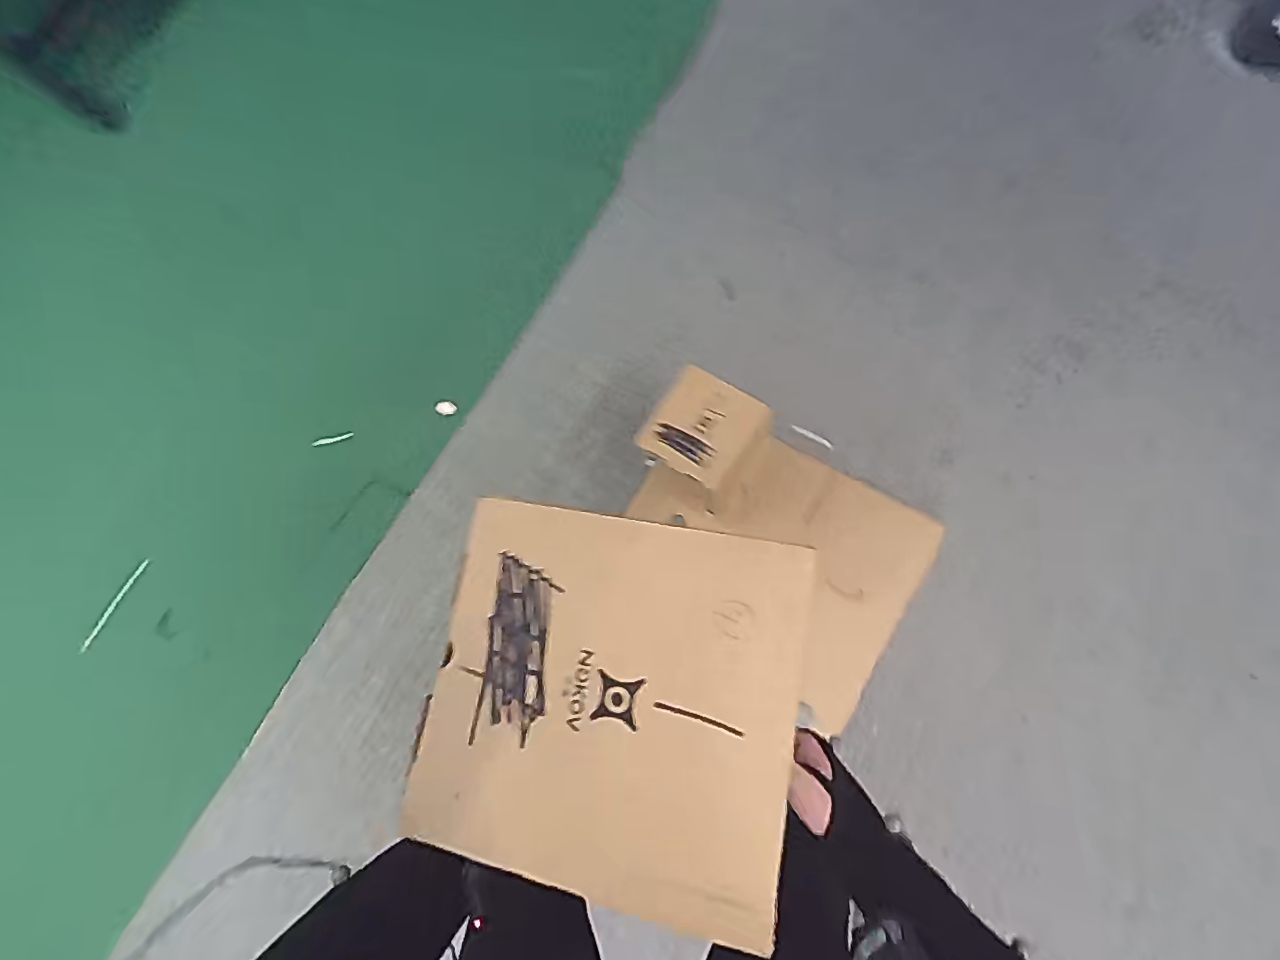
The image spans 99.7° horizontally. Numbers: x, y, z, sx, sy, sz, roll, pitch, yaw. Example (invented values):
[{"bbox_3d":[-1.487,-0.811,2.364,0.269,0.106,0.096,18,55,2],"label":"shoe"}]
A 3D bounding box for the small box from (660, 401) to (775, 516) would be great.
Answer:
[{"bbox_3d":[0.168,-0.036,1.154,0.179,0.176,0.168,32,84,17],"label":"small box"}]

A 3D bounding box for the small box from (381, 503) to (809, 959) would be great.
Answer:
[{"bbox_3d":[-0.005,0.120,0.319,0.179,0.176,0.168,8,78,14],"label":"small box"}]

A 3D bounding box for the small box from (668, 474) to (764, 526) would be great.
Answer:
[{"bbox_3d":[0.191,-0.001,1.310,0.179,0.176,0.168,32,83,16],"label":"small box"}]
